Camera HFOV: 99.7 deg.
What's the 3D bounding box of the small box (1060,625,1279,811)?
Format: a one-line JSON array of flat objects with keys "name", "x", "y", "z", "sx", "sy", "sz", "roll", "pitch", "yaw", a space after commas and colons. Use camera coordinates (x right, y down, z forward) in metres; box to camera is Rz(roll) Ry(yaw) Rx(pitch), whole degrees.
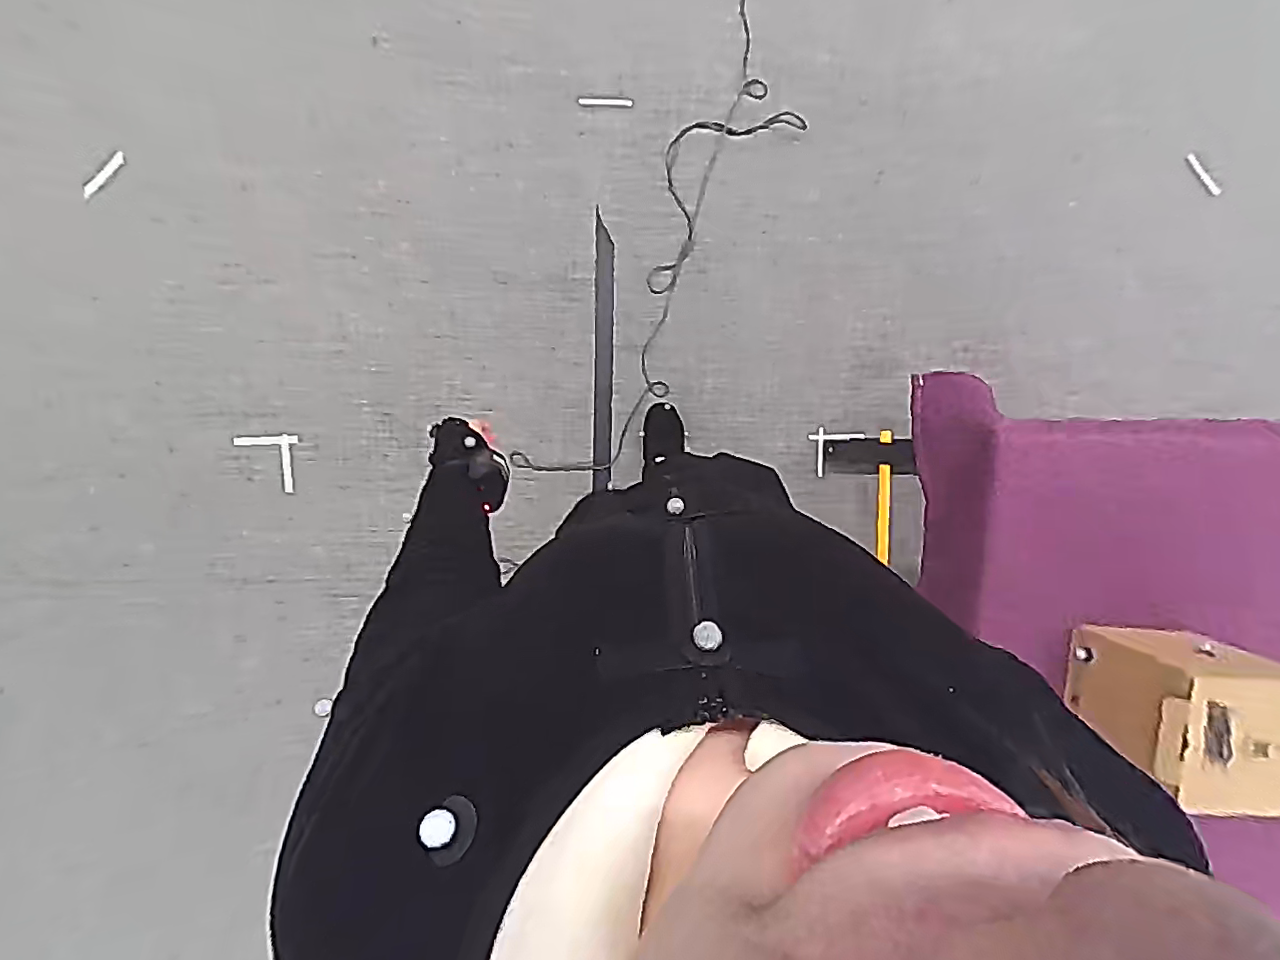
[{"name": "small box", "x": 0.704, "y": 0.299, "z": 0.712, "sx": 0.179, "sy": 0.176, "sz": 0.168, "roll": 4, "pitch": 95, "yaw": -2}]
